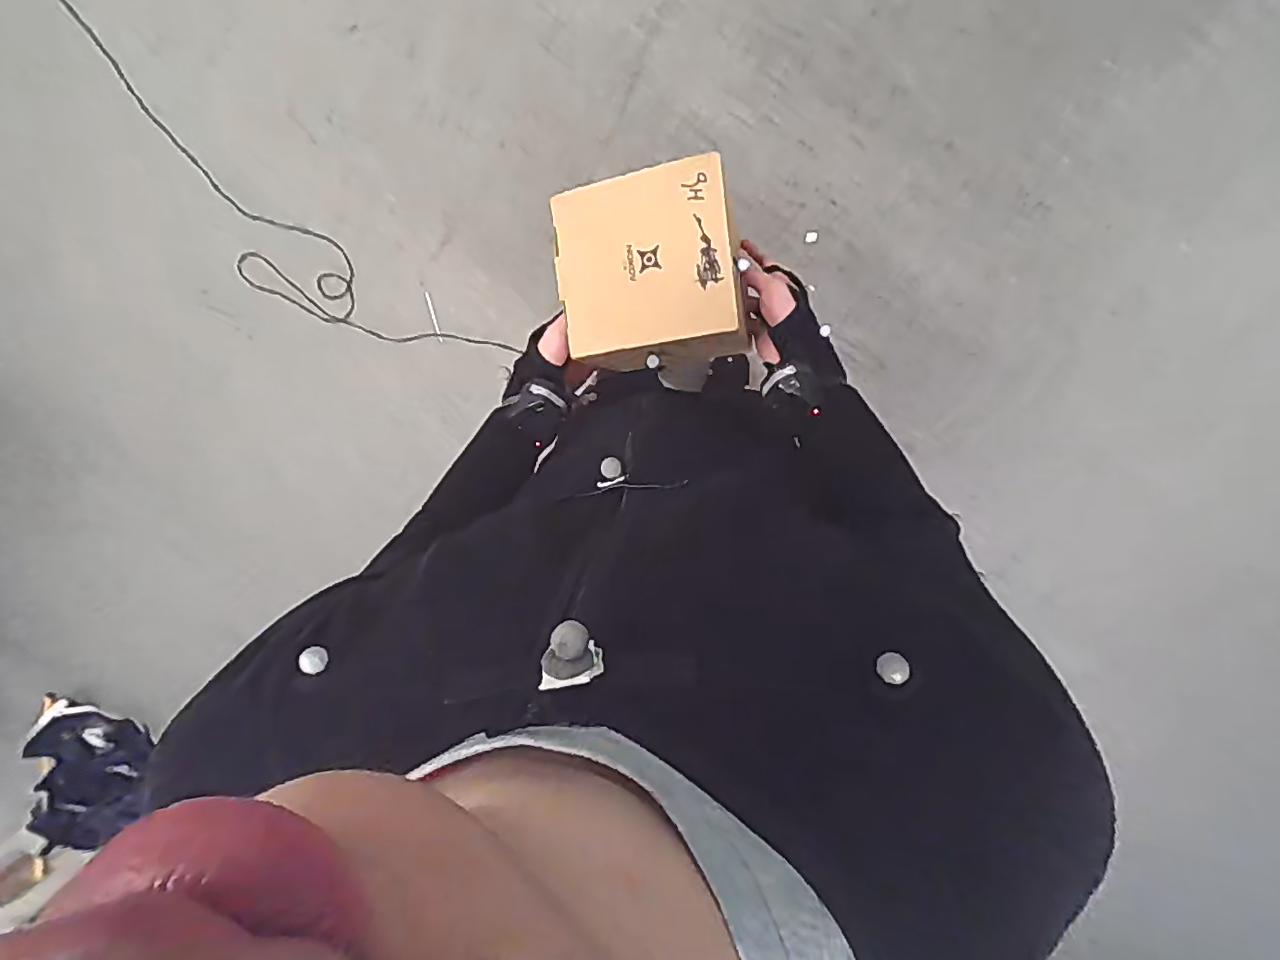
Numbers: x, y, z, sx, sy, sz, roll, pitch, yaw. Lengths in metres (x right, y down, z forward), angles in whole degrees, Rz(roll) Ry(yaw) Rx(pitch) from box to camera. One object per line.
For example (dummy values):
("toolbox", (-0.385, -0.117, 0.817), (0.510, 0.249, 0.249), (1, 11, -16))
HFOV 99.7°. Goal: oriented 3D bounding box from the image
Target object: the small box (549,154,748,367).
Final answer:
("small box", (0.019, -0.225, 0.608), (0.179, 0.176, 0.168), (-5, 95, 17))
